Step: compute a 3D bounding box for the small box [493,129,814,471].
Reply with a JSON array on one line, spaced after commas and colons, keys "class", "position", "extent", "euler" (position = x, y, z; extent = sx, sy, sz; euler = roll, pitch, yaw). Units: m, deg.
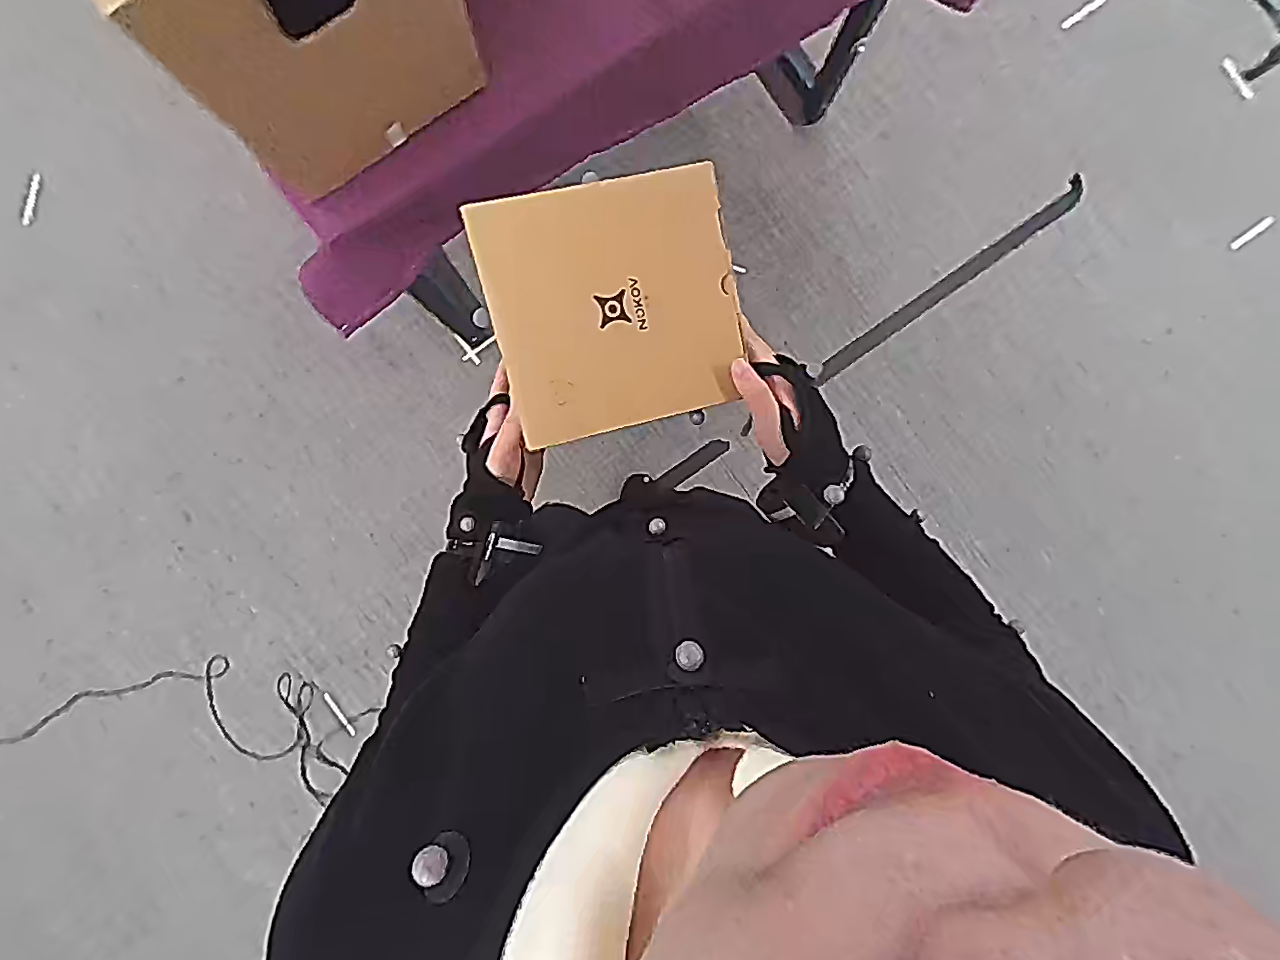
[{"class": "small box", "position": [0.003, -0.128, 0.418], "extent": [0.168, 0.176, 0.179], "euler": [-19, 85, -27]}]
